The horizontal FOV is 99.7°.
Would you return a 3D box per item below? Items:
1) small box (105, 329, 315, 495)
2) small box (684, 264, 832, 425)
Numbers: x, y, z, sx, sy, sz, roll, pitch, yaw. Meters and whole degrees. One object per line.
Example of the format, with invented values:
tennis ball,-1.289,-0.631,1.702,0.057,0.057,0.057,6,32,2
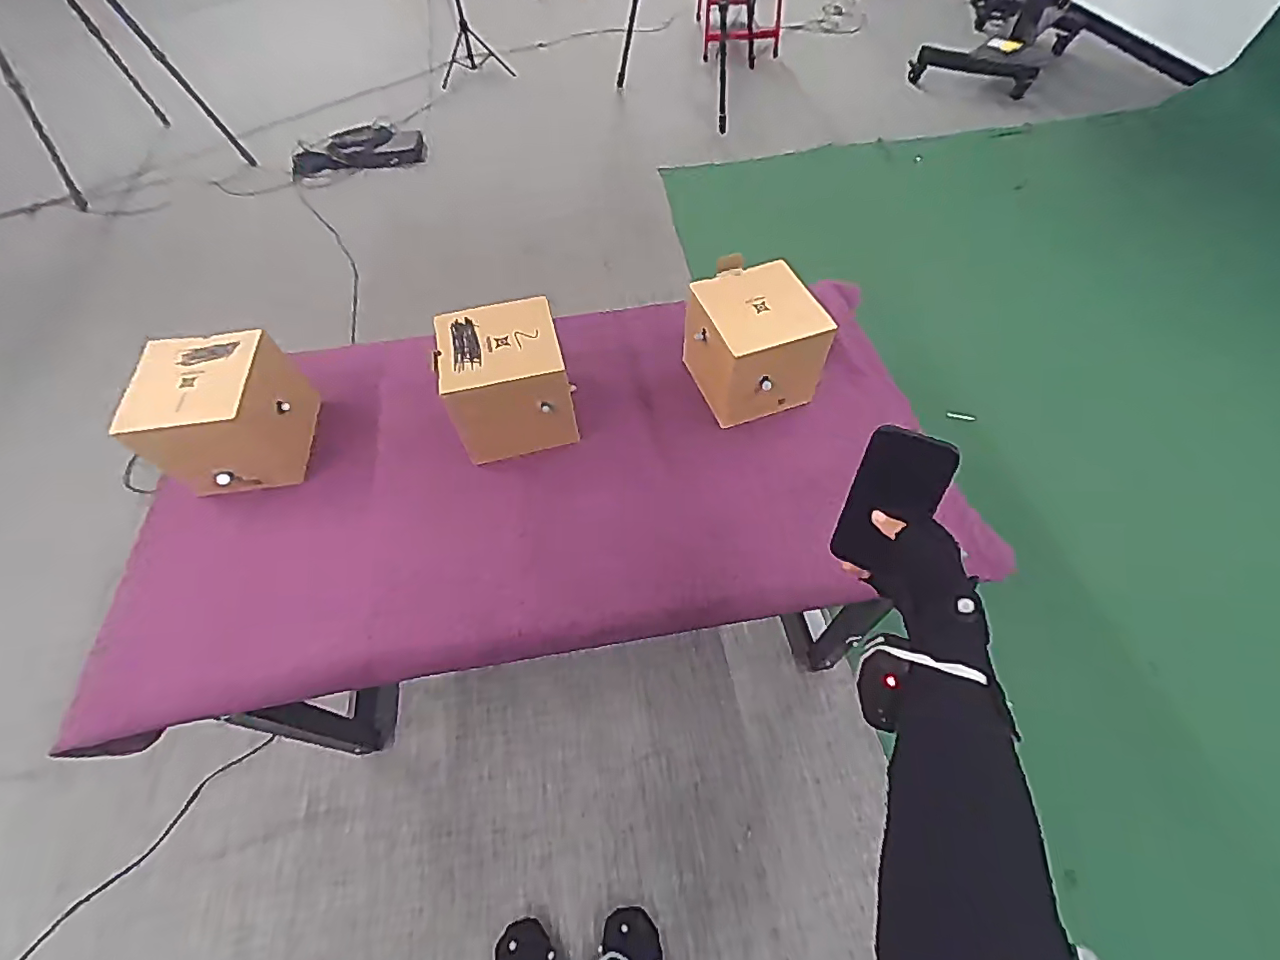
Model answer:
small box,-0.626,-0.099,0.819,0.168,0.176,0.179,-7,59,-4
small box,0.179,-0.210,0.874,0.168,0.176,0.179,-18,58,-9
